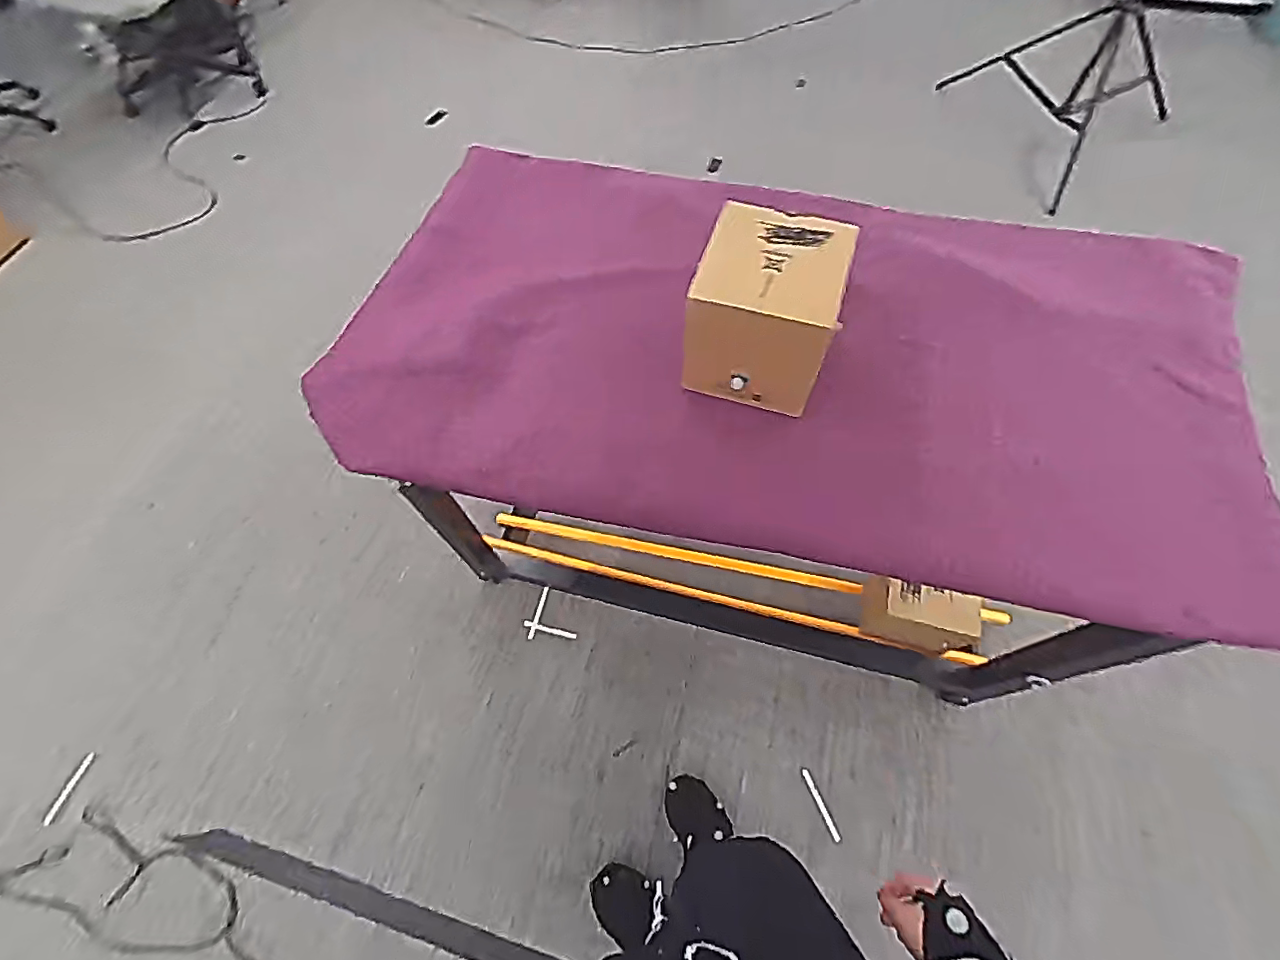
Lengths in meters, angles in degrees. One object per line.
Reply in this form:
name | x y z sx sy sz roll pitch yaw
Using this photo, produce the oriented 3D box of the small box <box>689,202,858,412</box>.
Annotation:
small box | 0.164 -0.220 0.702 0.168 0.176 0.179 16 63 11
